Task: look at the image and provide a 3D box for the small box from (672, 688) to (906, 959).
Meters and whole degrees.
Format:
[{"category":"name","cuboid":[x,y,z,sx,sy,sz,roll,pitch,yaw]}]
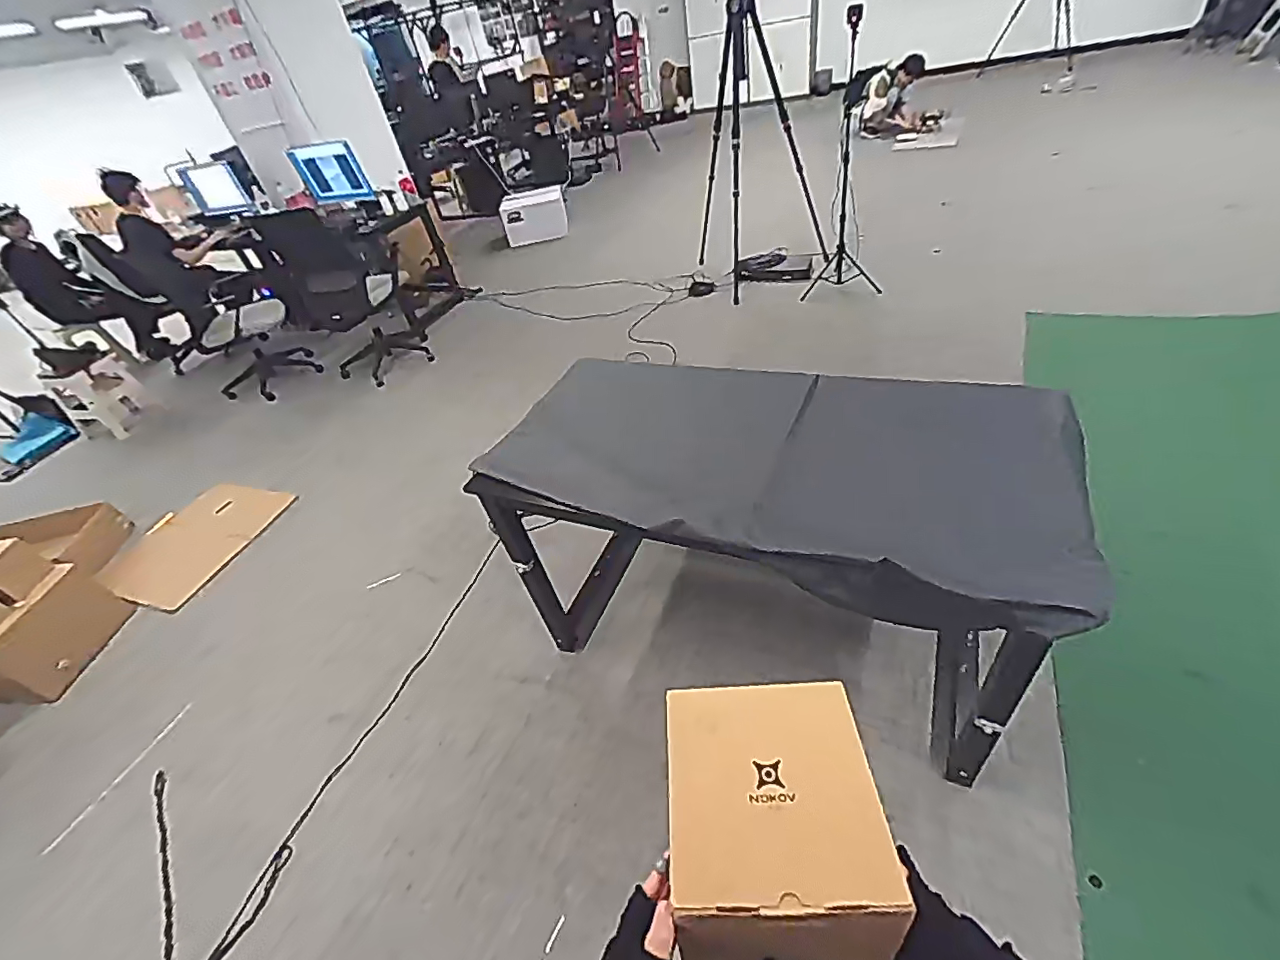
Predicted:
[{"category":"small box","cuboid":[0.115,0.317,0.495,0.168,0.176,0.179,-4,36,5]}]
